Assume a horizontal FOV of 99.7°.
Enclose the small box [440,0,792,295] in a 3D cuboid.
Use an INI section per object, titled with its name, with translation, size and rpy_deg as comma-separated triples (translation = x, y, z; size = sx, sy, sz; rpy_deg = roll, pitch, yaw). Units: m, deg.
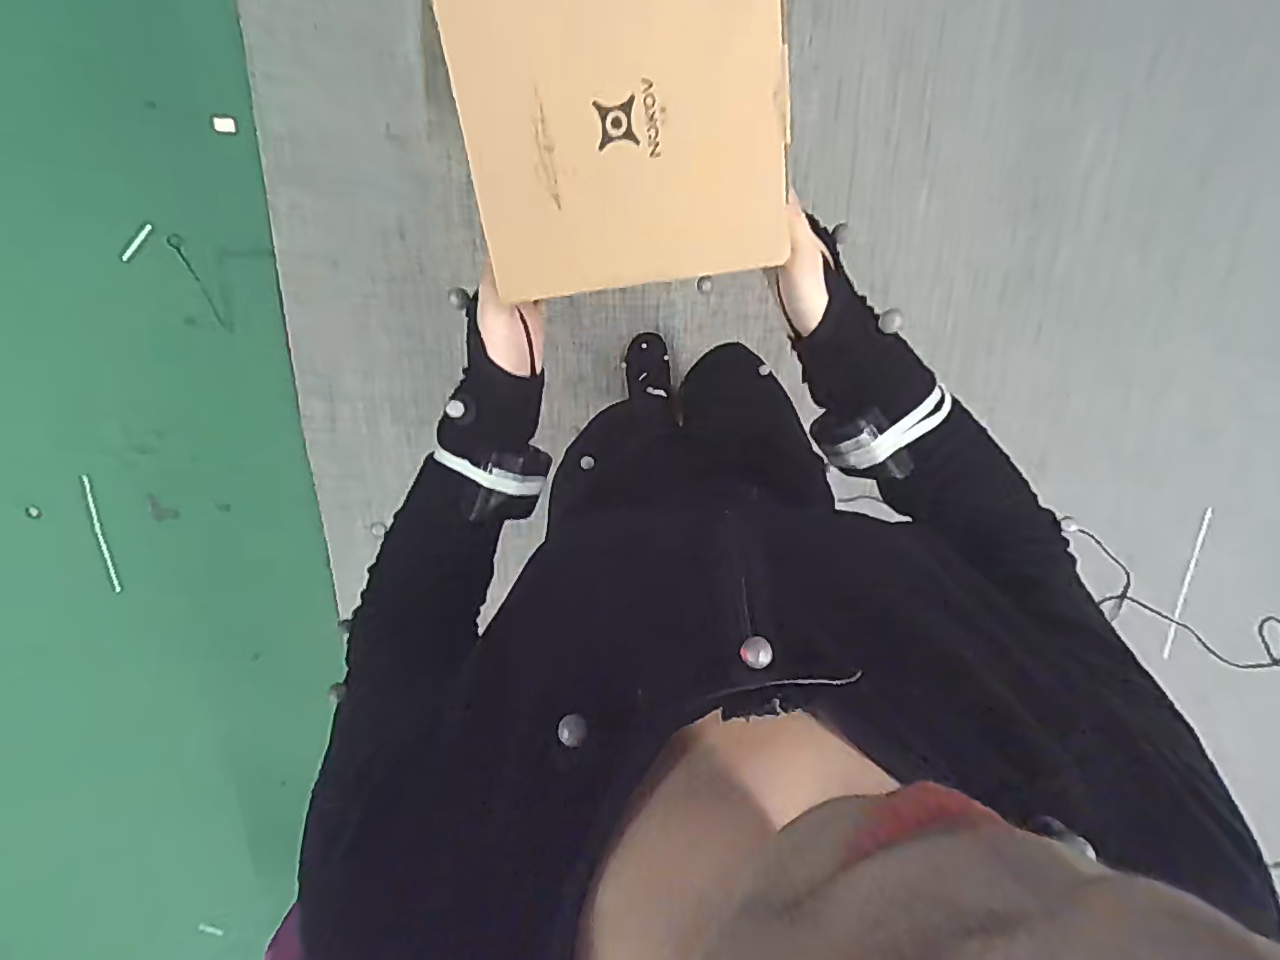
[small box]
translation = -0.008, -0.223, 0.362
size = 0.179, 0.176, 0.168
rpy_deg = -7, 111, 3
